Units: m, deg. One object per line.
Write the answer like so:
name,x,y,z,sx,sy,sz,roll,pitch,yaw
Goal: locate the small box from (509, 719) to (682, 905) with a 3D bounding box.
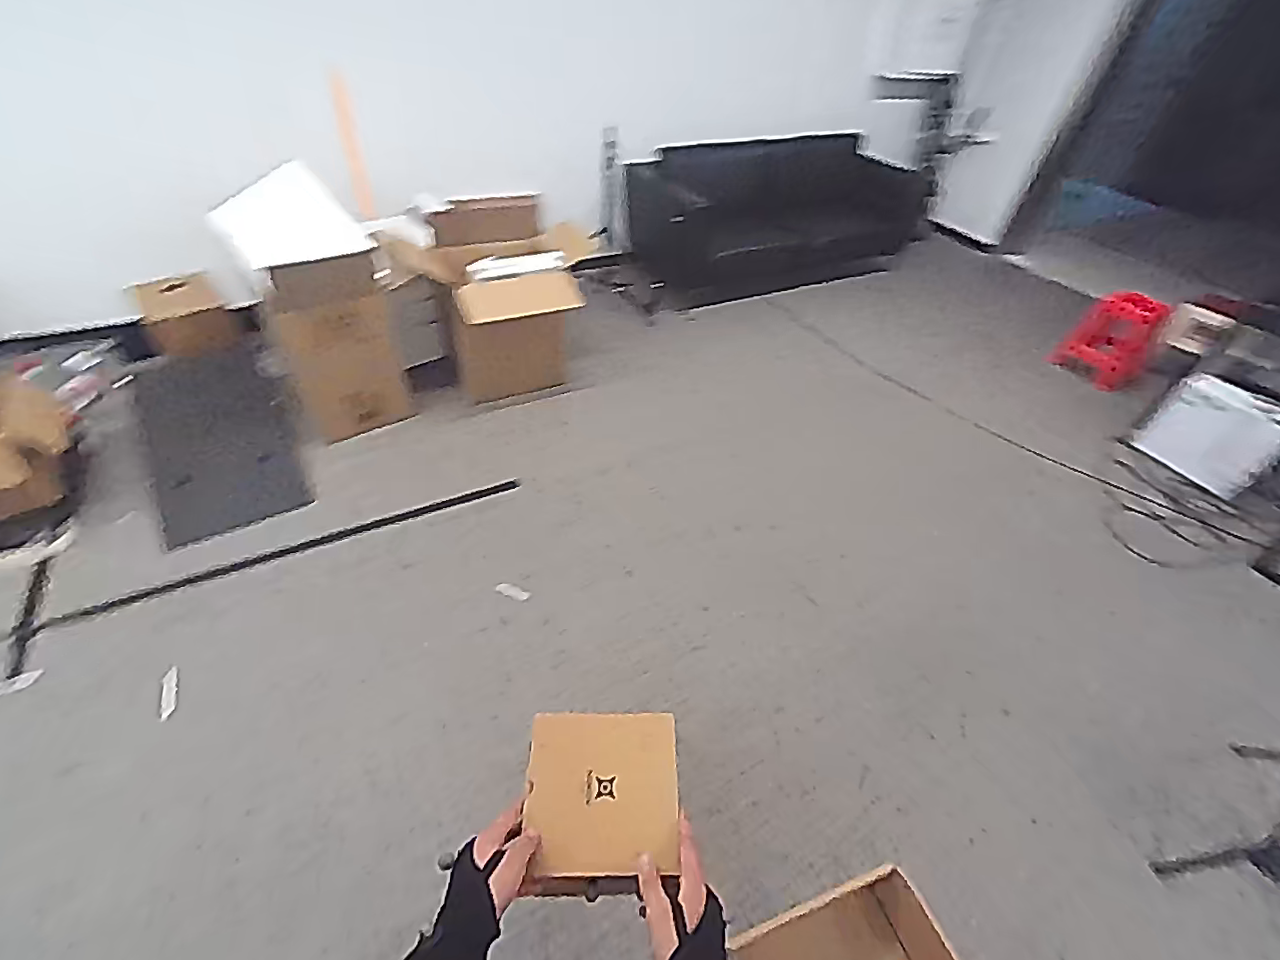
small box,-0.047,0.402,0.654,0.179,0.176,0.168,-1,47,-1
